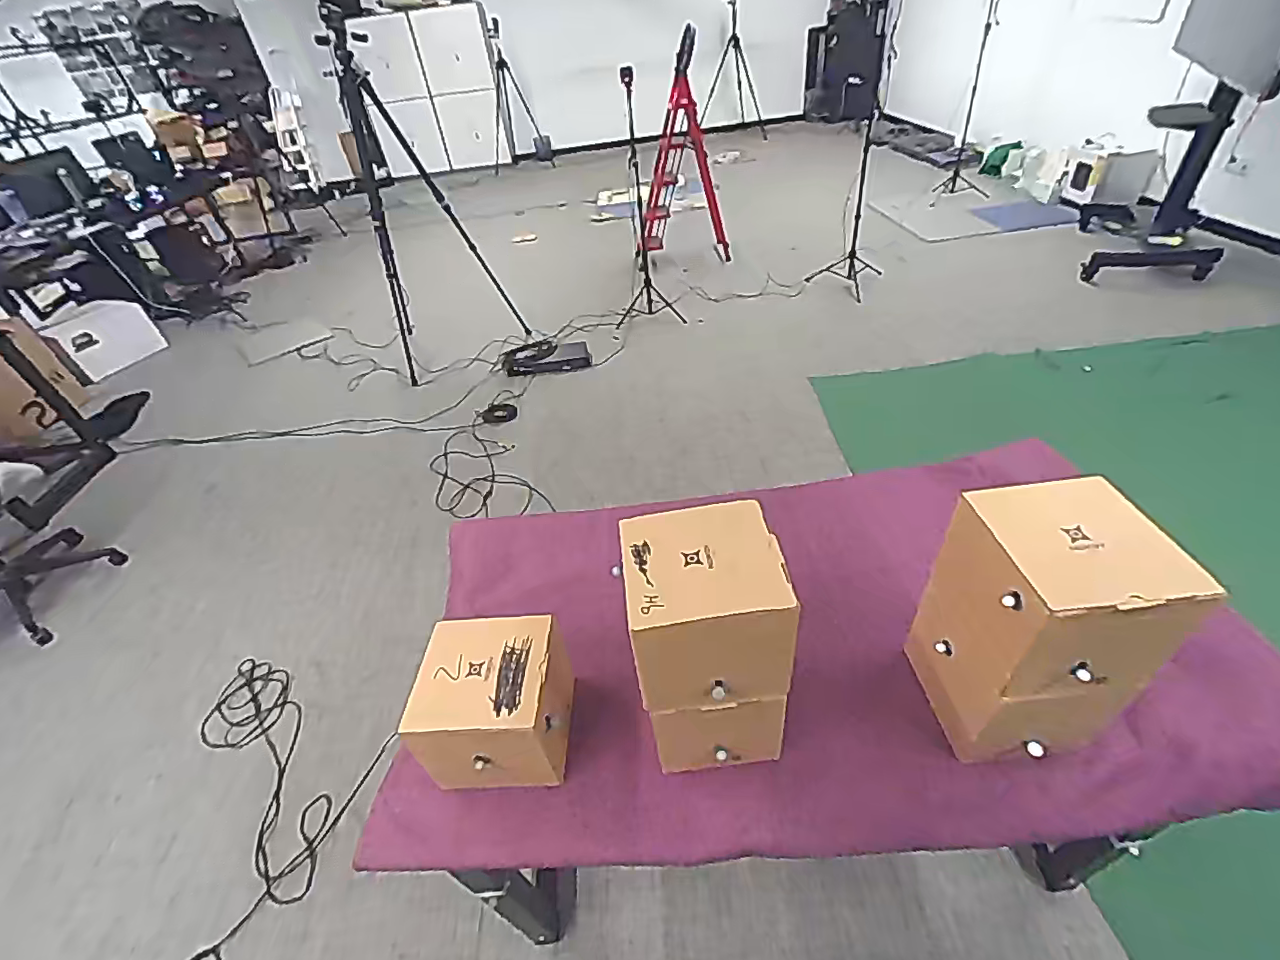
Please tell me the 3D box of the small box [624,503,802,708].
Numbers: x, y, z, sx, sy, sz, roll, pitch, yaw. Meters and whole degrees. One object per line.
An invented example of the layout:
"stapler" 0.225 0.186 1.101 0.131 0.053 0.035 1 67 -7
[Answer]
"small box" 0.078 0.151 0.652 0.179 0.176 0.168 -8 38 0

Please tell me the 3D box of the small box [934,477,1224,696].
"small box" 0.473 0.121 0.625 0.168 0.176 0.179 -7 40 1

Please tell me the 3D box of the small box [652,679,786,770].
"small box" 0.097 0.275 0.758 0.168 0.176 0.179 -8 39 1

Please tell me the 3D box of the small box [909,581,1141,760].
"small box" 0.490 0.247 0.726 0.168 0.176 0.179 -7 41 2
